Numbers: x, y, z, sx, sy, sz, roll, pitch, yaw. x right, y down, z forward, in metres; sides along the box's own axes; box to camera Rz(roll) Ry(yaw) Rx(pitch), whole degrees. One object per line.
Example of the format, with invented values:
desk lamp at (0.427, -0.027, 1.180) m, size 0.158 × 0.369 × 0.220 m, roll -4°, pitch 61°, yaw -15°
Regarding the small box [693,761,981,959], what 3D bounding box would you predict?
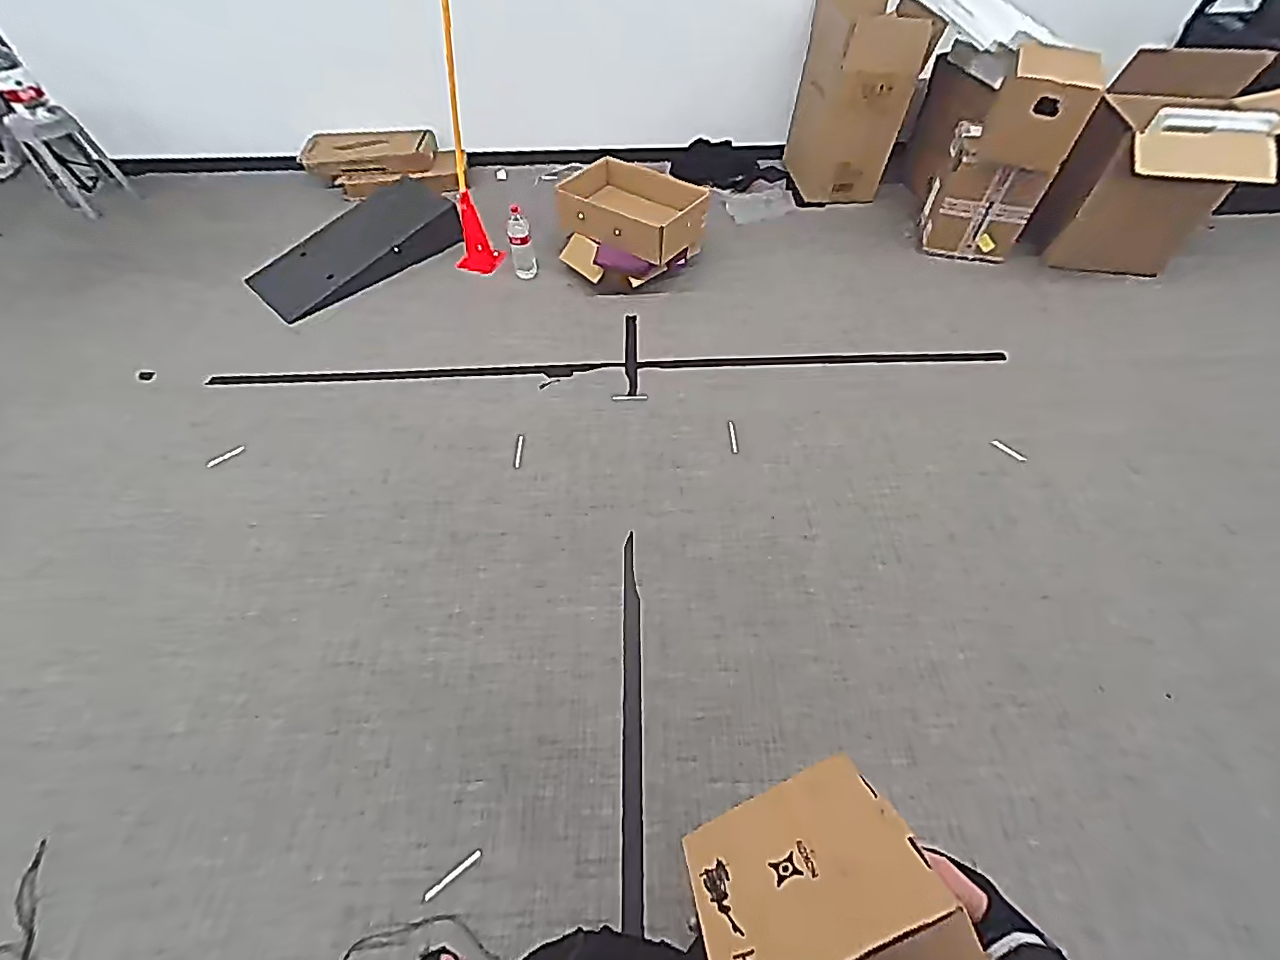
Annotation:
small box at (0.168, 0.389, 0.451) m, size 0.179 × 0.168 × 0.176 m, roll -26°, pitch 97°, yaw -2°
